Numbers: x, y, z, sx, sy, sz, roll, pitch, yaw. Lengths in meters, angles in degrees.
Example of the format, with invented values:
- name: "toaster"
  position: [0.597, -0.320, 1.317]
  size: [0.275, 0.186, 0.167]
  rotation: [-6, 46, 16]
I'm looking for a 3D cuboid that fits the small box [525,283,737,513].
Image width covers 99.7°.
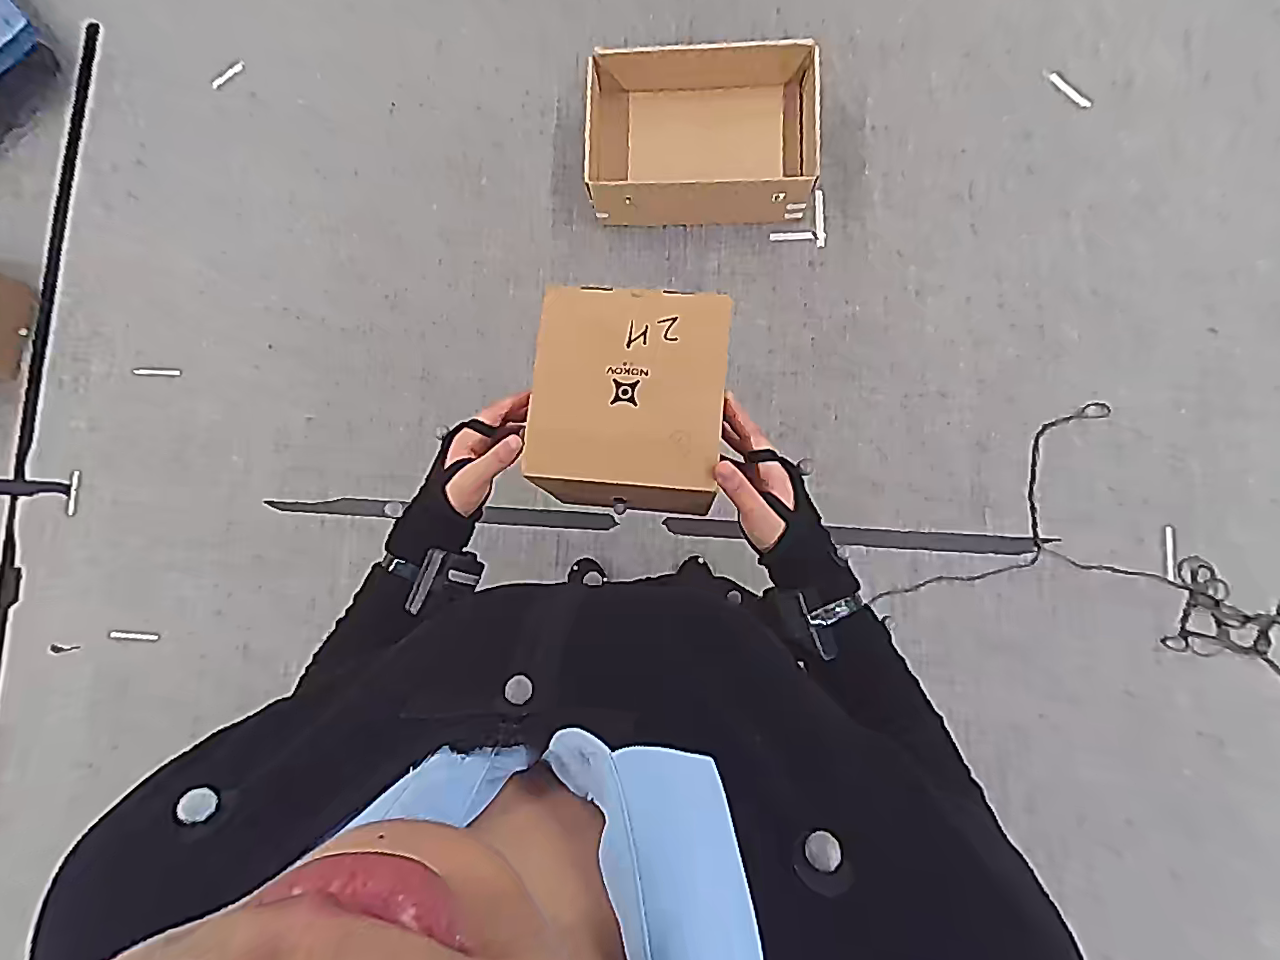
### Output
- name: "small box"
  position: [-0.002, -0.067, 0.532]
  size: [0.168, 0.176, 0.179]
  rotation: [6, 79, 4]
